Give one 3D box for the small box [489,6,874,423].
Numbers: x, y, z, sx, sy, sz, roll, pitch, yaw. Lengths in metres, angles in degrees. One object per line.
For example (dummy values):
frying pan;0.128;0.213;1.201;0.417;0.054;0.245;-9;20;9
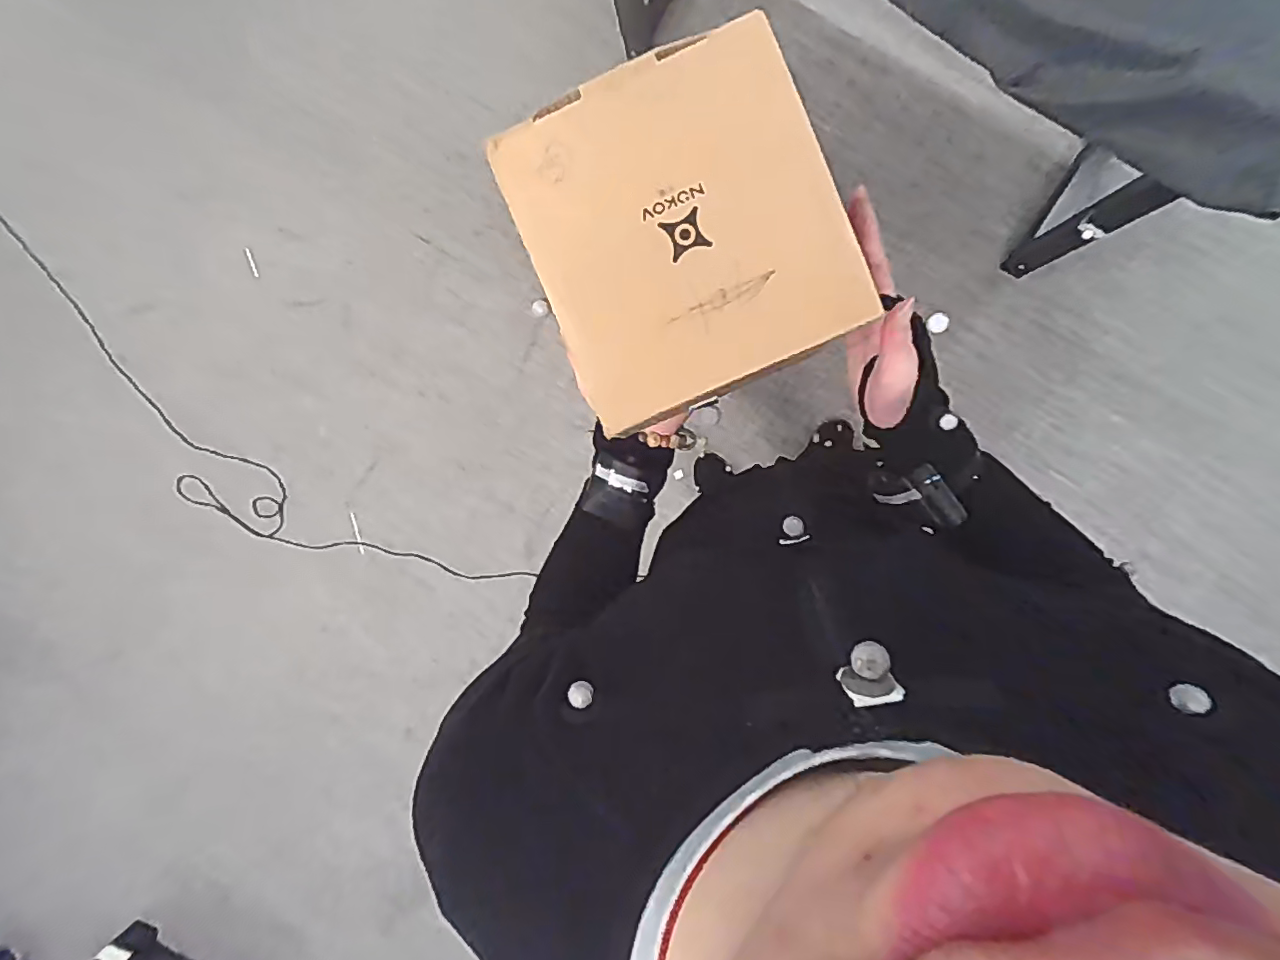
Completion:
small box;0.025;-0.149;0.374;0.168;0.176;0.179;-22;94;4
